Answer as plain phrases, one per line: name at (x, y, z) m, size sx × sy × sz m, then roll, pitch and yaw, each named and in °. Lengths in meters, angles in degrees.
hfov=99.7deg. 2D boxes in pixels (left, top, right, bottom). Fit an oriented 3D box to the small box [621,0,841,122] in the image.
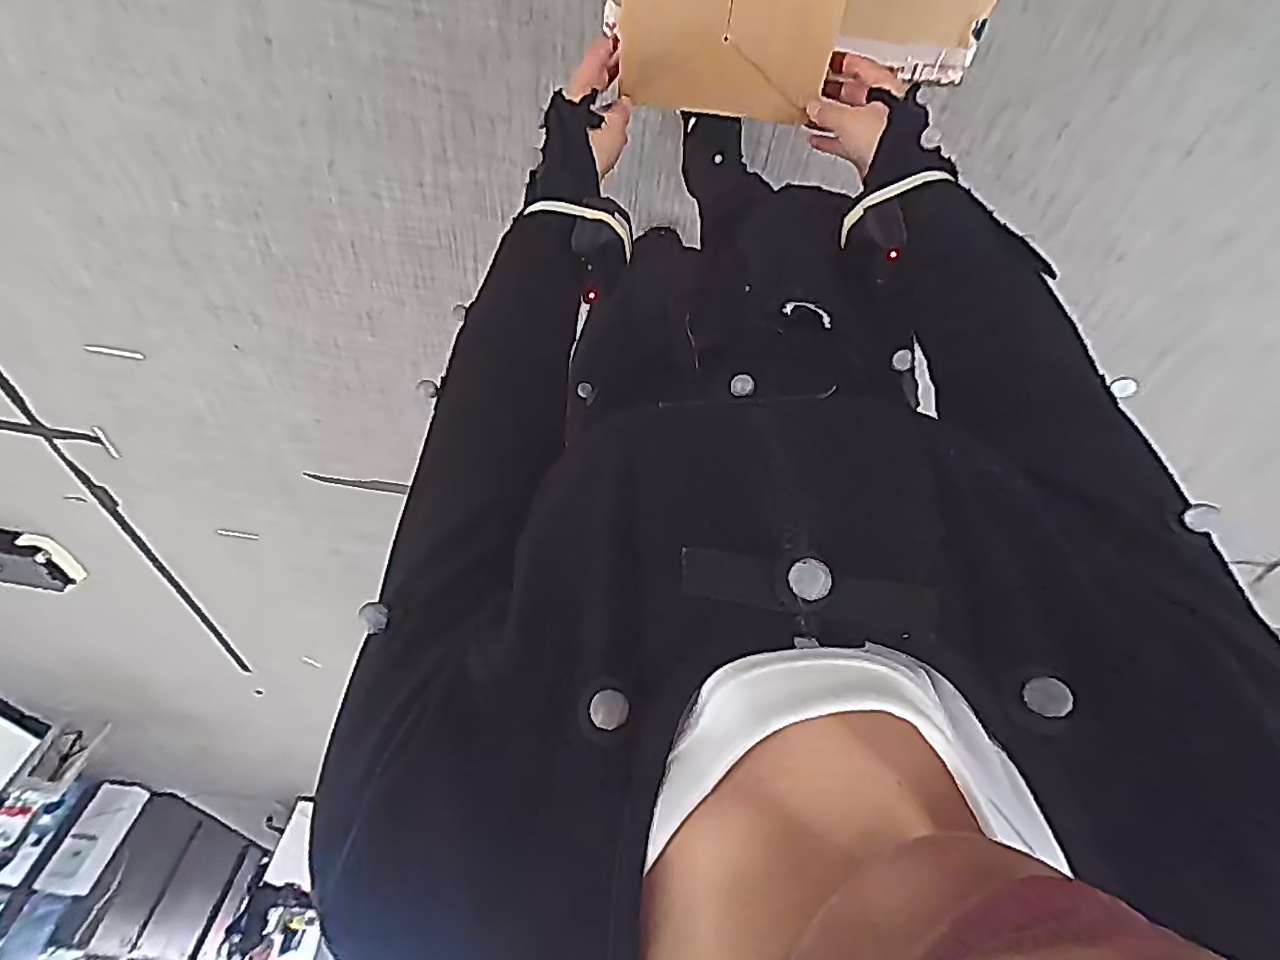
small box at (0.076, -0.440, 0.478) m, size 0.179 × 0.176 × 0.168 m, roll 7°, pitch 138°, yaw 0°
